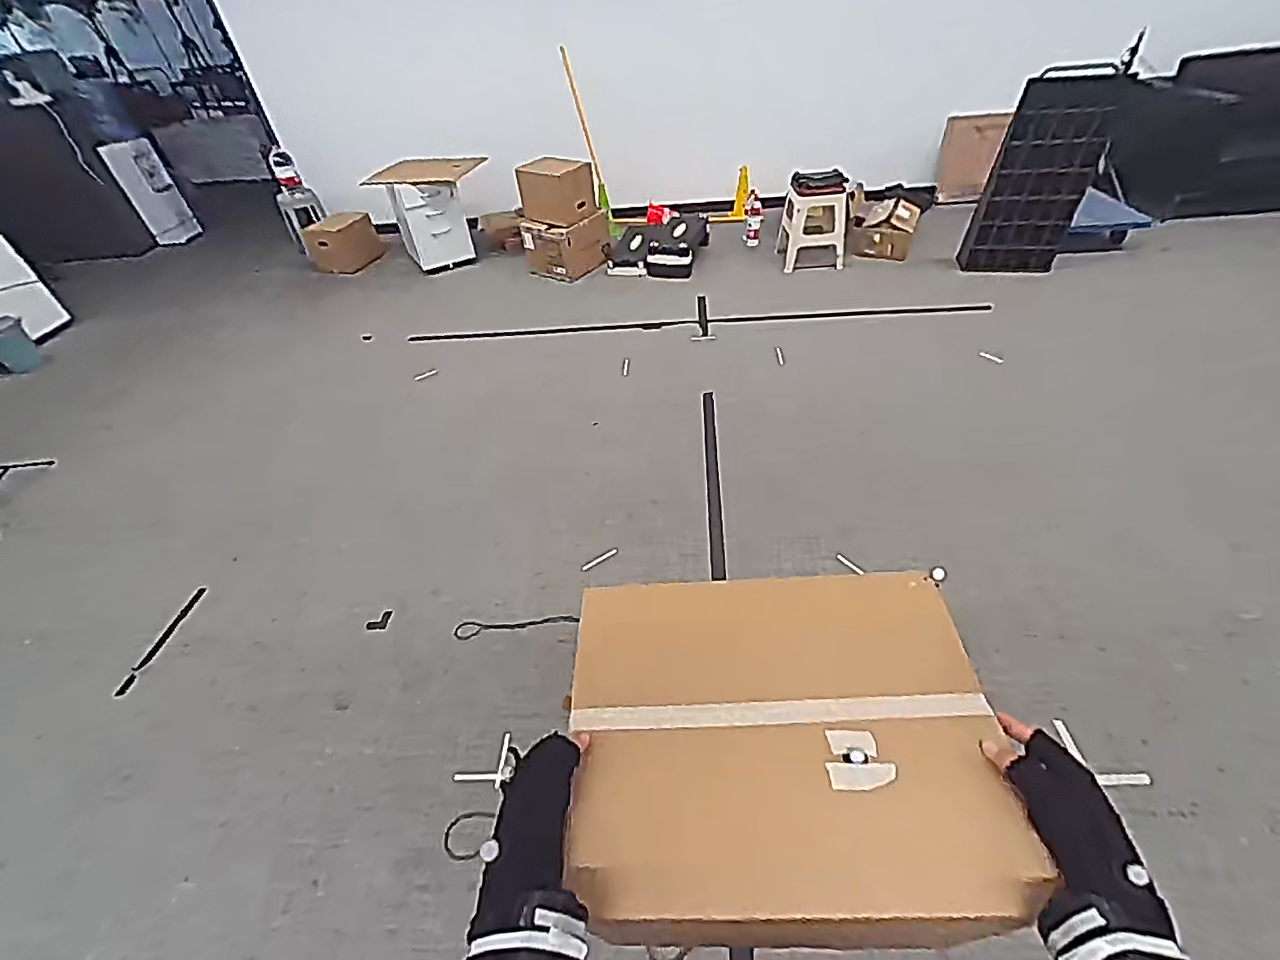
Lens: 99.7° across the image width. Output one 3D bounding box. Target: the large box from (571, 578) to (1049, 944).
[{"bbox_3d":[0.148,0.344,0.656,0.408,0.320,0.320,-4,46,4],"label":"large box"}]
